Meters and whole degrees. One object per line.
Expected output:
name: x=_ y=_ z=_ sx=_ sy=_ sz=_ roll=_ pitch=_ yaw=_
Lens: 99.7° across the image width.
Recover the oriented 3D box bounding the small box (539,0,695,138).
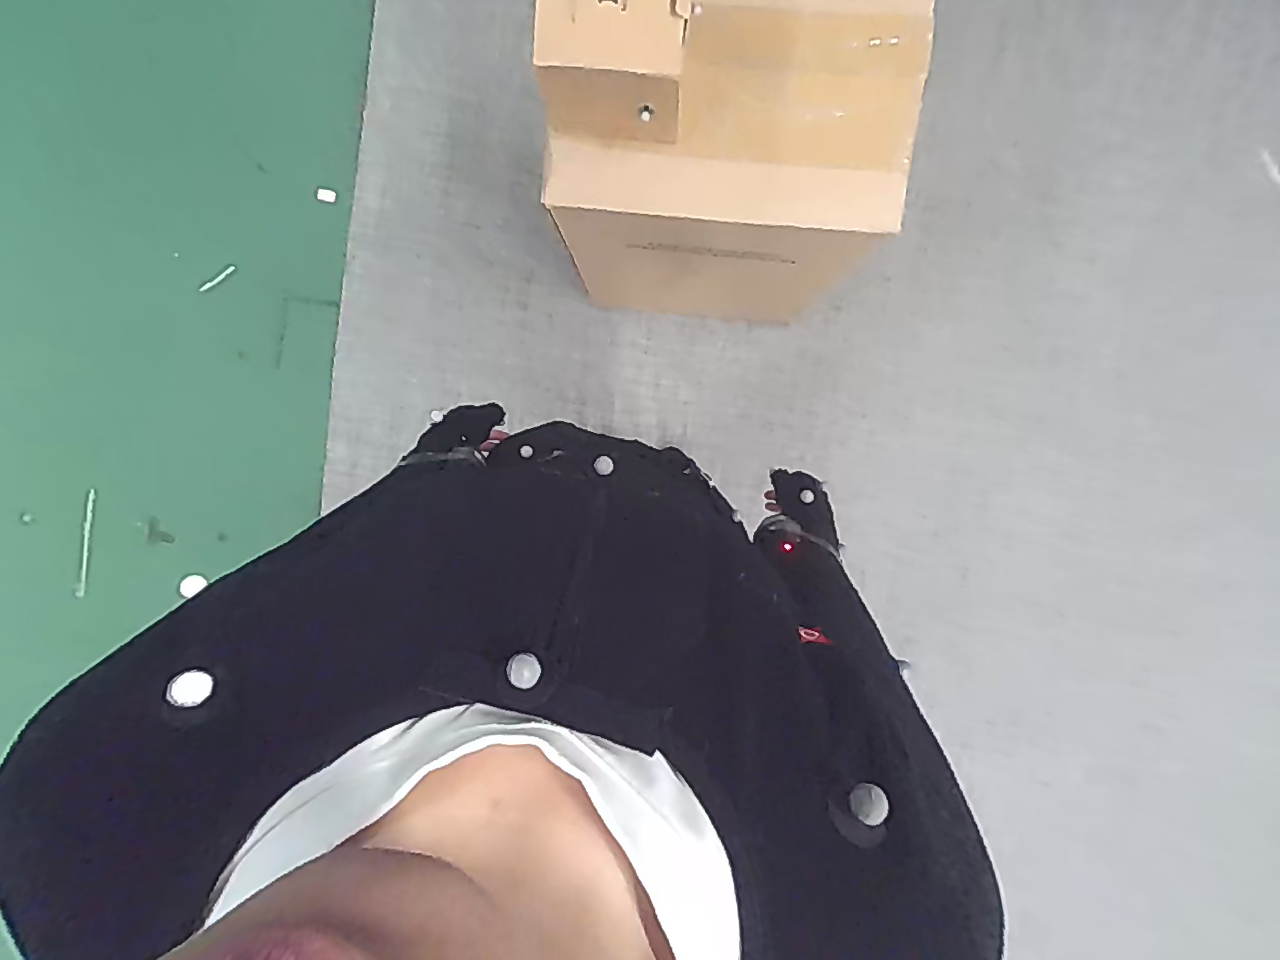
small box: x=-0.021 y=-0.567 z=0.695 sx=0.179 sy=0.176 sz=0.168 roll=5 pitch=98 yaw=3
